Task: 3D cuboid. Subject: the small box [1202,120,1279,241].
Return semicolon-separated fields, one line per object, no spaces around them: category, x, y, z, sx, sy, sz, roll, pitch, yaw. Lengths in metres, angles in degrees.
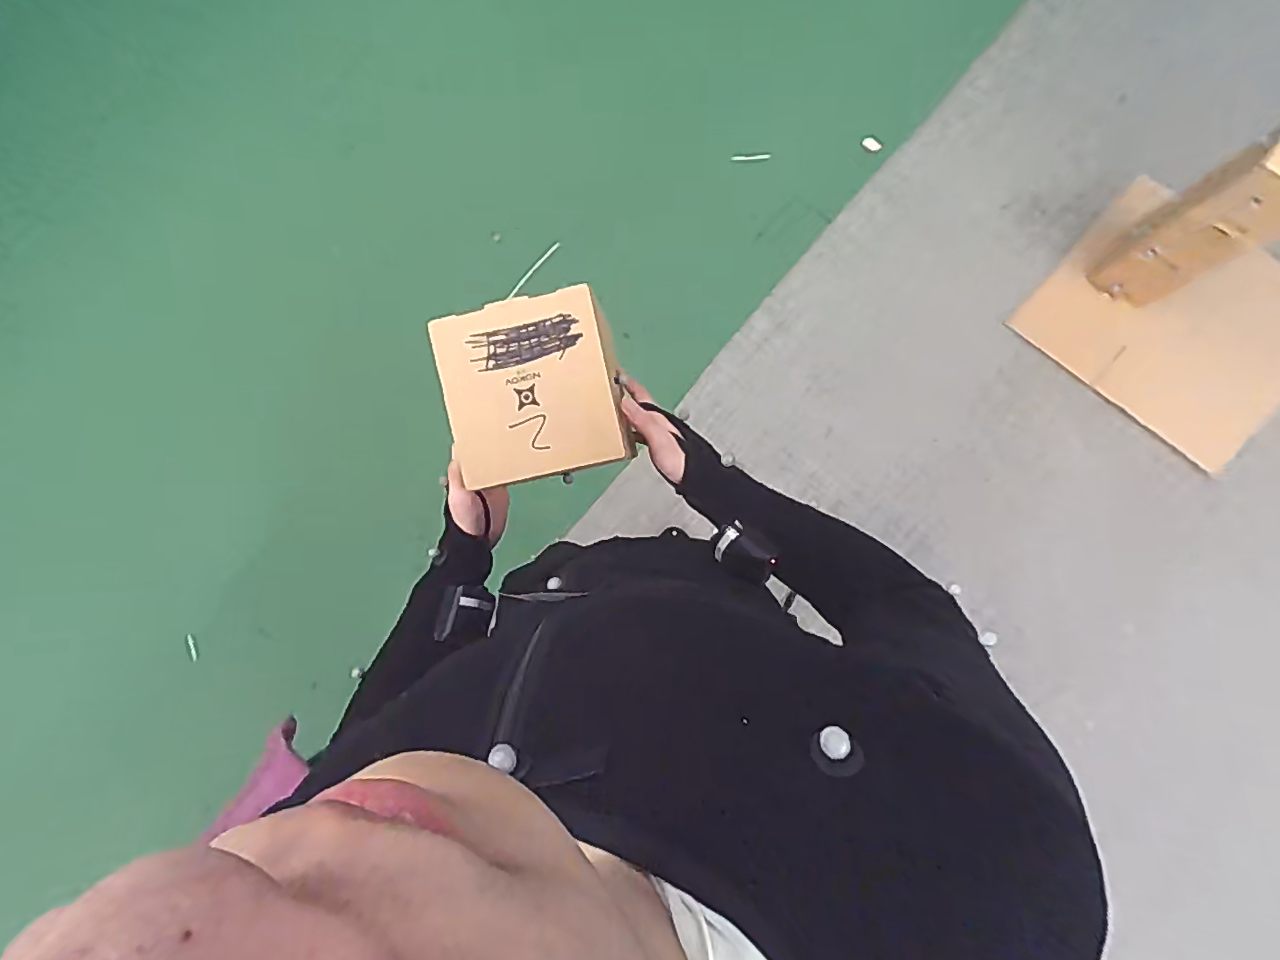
small box;1.381;-0.654;1.153;0.168;0.176;0.179;38;88;9

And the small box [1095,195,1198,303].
small box;1.410;-0.623;1.475;0.168;0.176;0.179;34;89;8

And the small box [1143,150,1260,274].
small box;1.393;-0.640;1.314;0.168;0.176;0.179;37;88;8
